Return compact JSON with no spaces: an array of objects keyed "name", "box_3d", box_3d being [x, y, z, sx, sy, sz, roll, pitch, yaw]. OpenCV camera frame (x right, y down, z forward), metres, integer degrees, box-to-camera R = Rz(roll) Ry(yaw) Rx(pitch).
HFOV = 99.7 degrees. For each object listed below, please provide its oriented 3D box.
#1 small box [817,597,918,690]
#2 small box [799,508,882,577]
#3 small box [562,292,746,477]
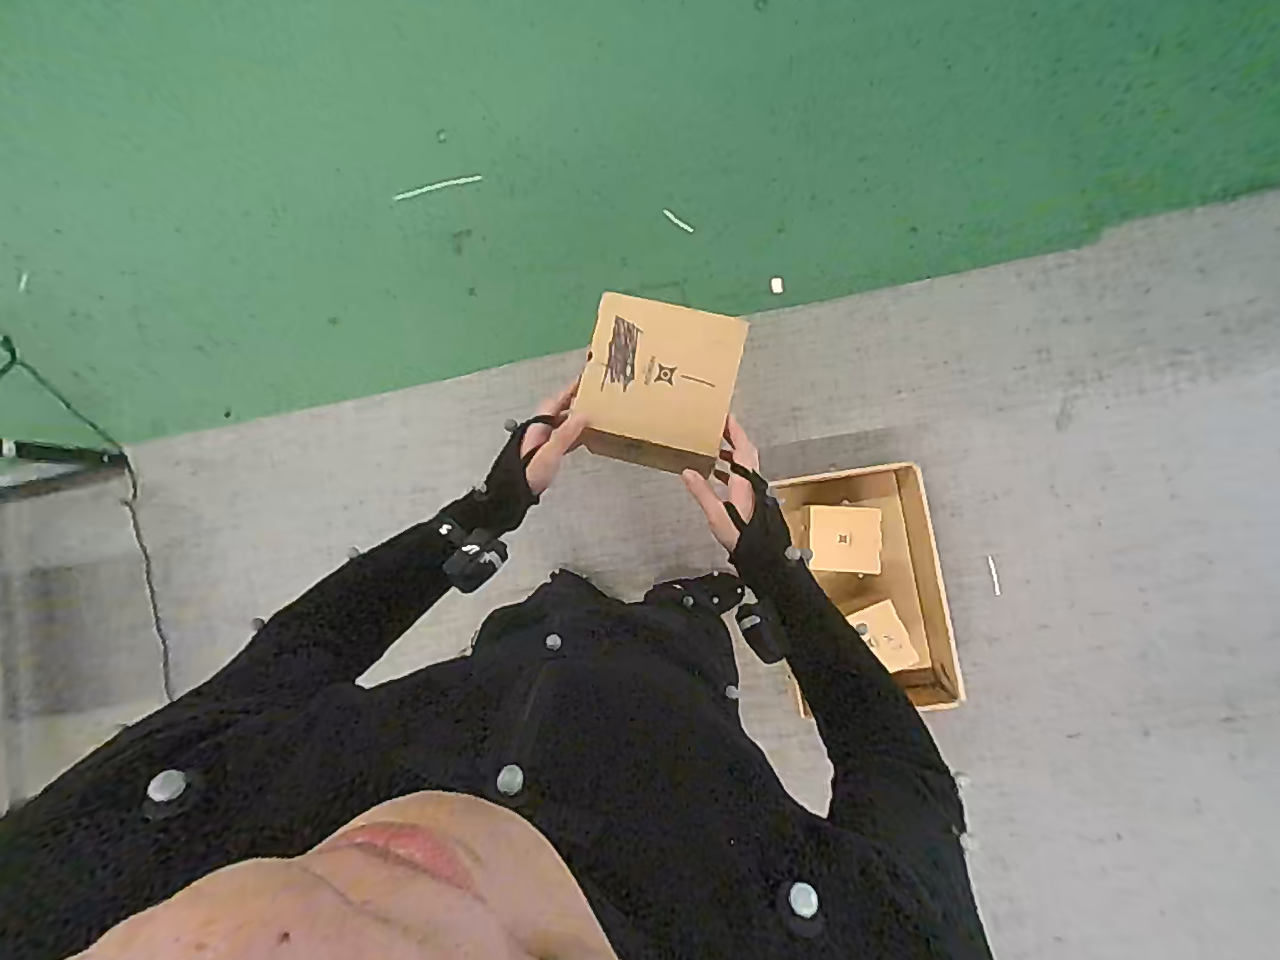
[{"name":"small box","box_3d":[0.577,0.418,1.404,0.179,0.176,0.168,-24,83,4]},{"name":"small box","box_3d":[0.523,0.162,1.433,0.179,0.176,0.168,3,86,6]},{"name":"small box","box_3d":[0.020,-0.108,0.682,0.179,0.176,0.168,14,83,5]}]
